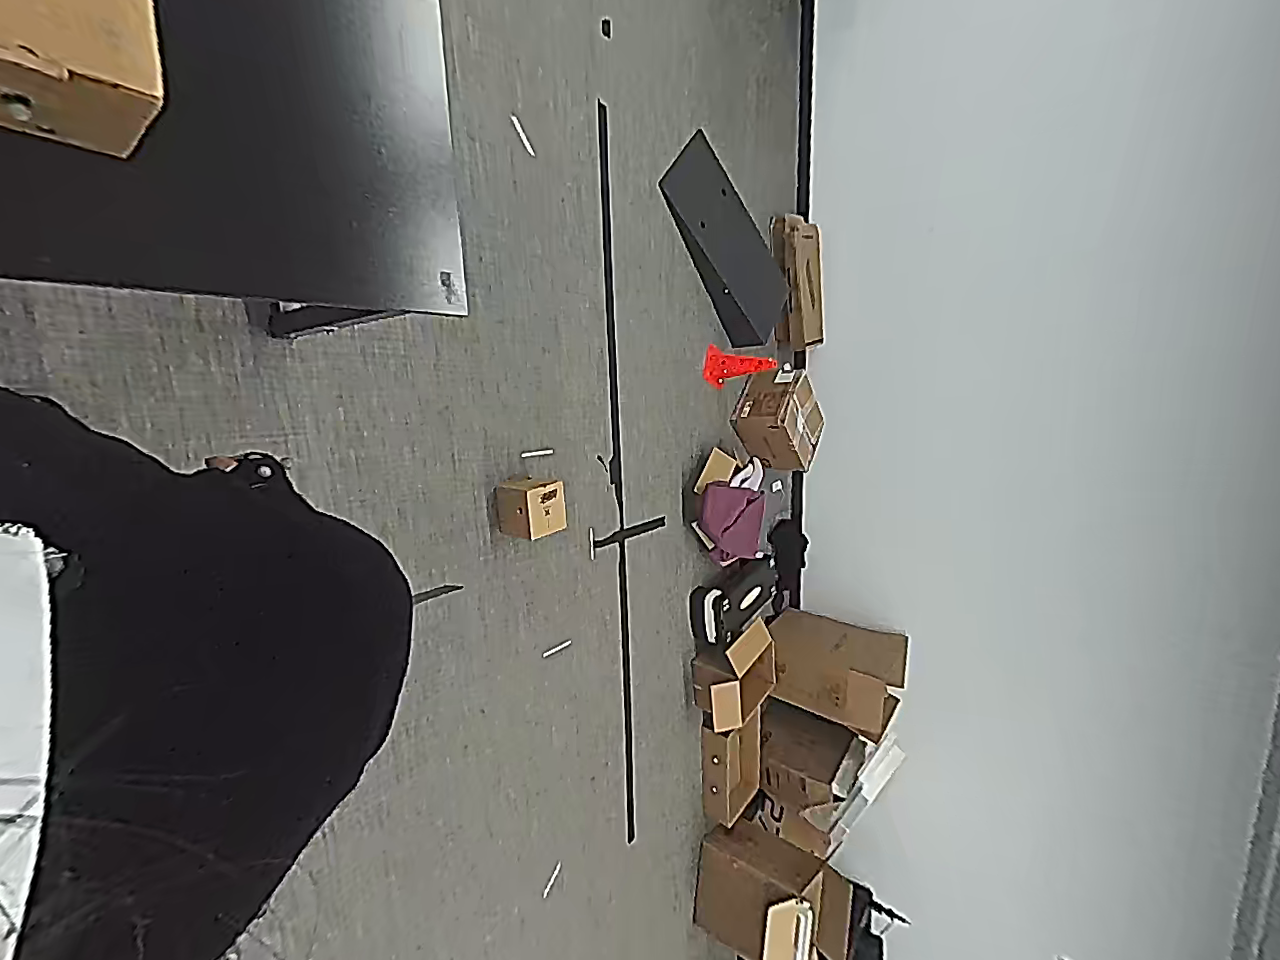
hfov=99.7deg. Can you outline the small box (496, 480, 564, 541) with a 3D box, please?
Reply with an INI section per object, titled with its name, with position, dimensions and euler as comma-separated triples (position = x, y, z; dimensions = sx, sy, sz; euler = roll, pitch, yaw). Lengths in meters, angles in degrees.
[small box]
position = -0.389, 0.100, 1.895
dimensions = 0.168, 0.176, 0.179
euler = -18, 109, -49
